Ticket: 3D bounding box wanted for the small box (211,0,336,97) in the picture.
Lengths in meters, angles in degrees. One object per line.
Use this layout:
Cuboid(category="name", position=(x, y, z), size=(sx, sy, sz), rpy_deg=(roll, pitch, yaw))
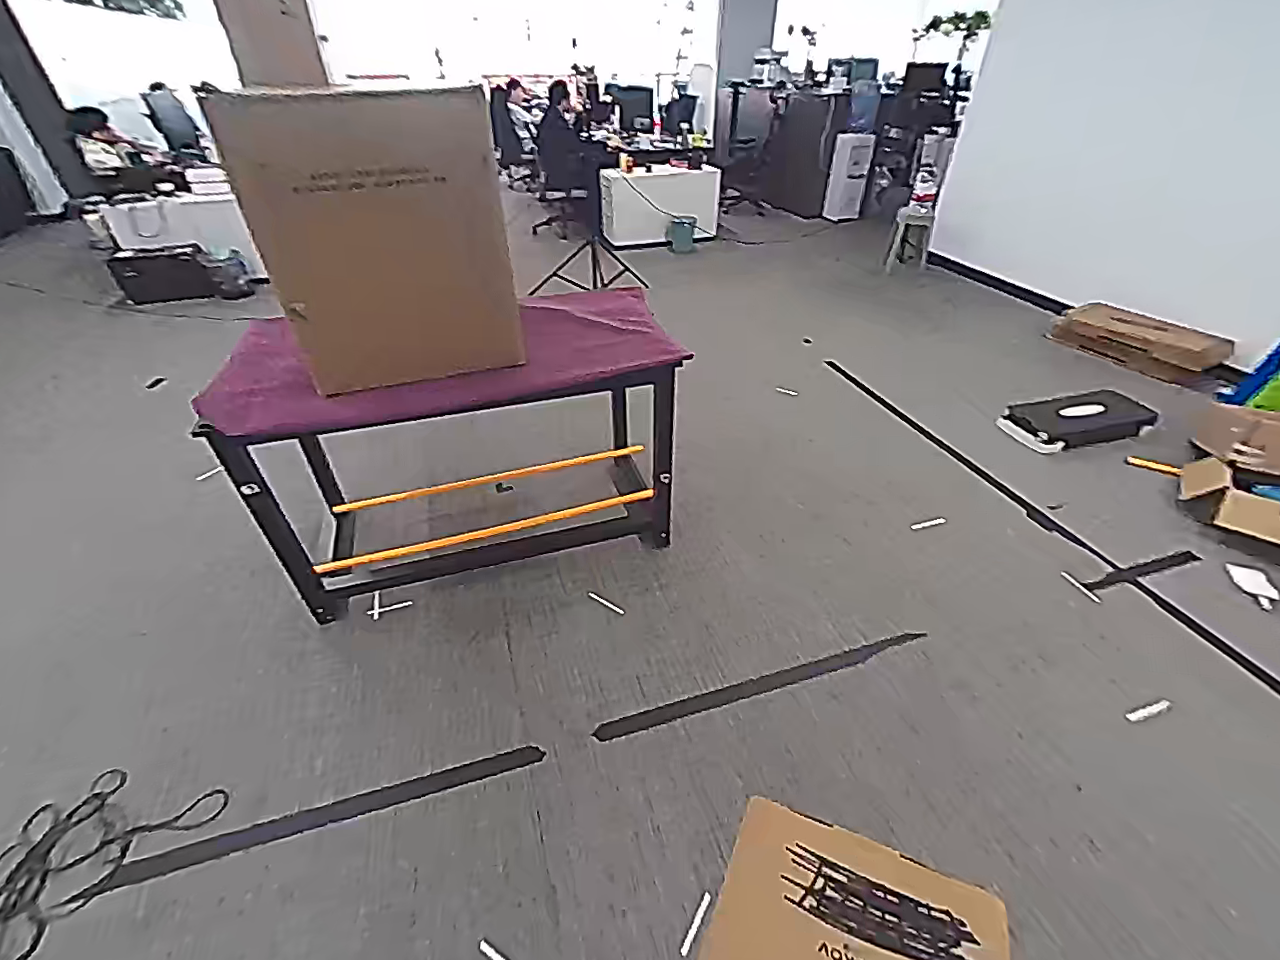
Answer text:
Cuboid(category="small box", position=(-0.779, -0.940, 1.171), size=(0.179, 0.176, 0.168), rpy_deg=(-12, 39, -16))
